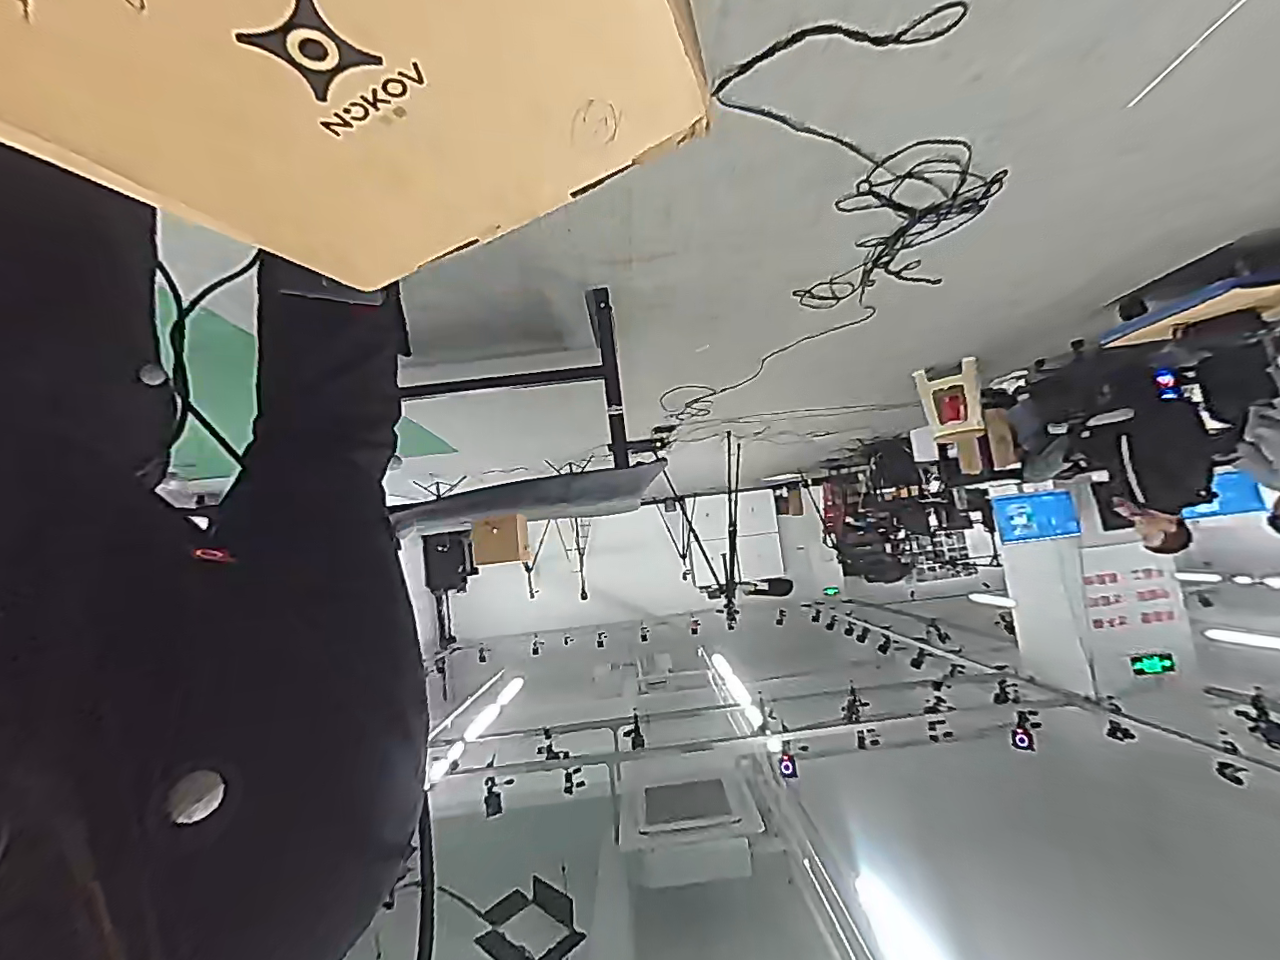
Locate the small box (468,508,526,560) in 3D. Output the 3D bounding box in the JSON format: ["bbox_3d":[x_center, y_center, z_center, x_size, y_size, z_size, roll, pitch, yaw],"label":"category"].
[{"bbox_3d":[-0.513,0.194,1.953,0.168,0.176,0.179,-7,173,-1],"label":"small box"}]

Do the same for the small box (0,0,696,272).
[{"bbox_3d":[-0.098,-0.193,0.147,0.168,0.176,0.179,-15,173,20],"label":"small box"}]
